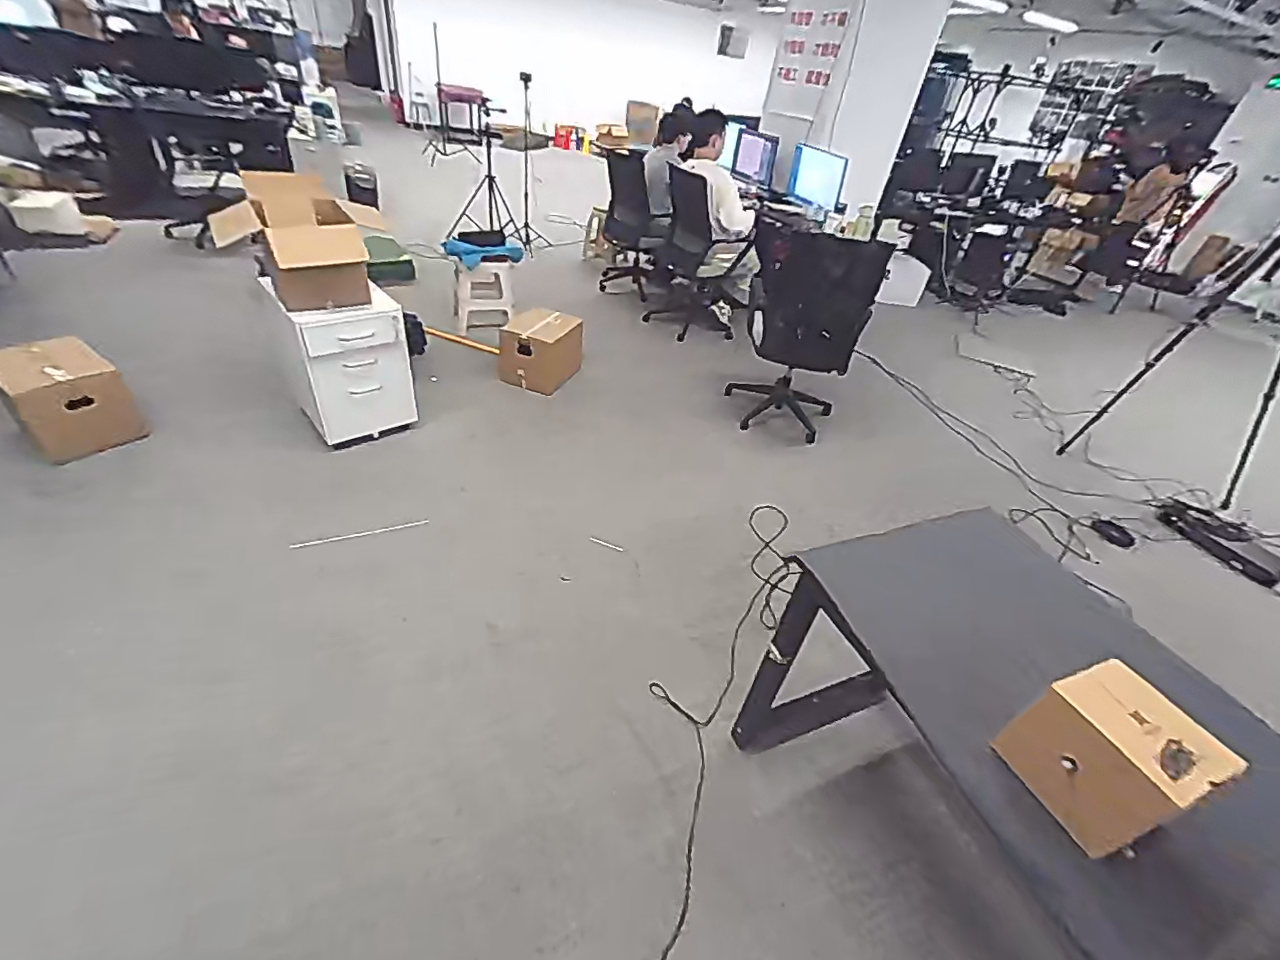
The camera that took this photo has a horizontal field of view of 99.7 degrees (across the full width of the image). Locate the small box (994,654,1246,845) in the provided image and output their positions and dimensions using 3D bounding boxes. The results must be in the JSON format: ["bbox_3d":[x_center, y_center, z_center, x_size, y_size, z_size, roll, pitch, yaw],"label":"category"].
[{"bbox_3d":[0.669,0.388,0.776,0.168,0.176,0.179,-7,38,-23],"label":"small box"}]
